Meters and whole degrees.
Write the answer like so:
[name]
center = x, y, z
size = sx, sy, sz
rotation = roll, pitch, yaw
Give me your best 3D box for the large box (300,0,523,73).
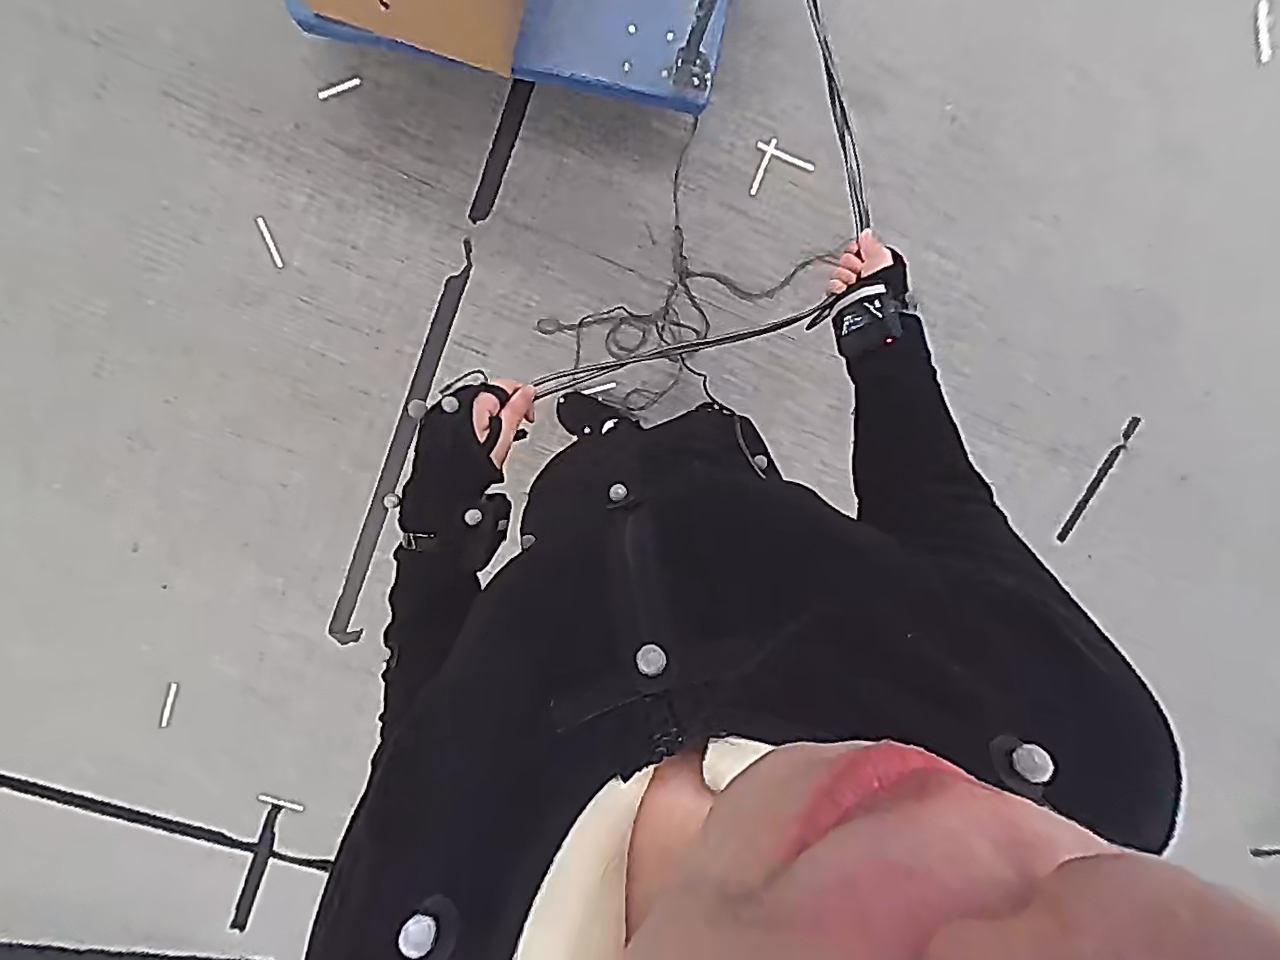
[large box]
center = -0.415, -0.982, 0.917
size = 0.408, 0.320, 0.320
rotation = 14, 101, -5
